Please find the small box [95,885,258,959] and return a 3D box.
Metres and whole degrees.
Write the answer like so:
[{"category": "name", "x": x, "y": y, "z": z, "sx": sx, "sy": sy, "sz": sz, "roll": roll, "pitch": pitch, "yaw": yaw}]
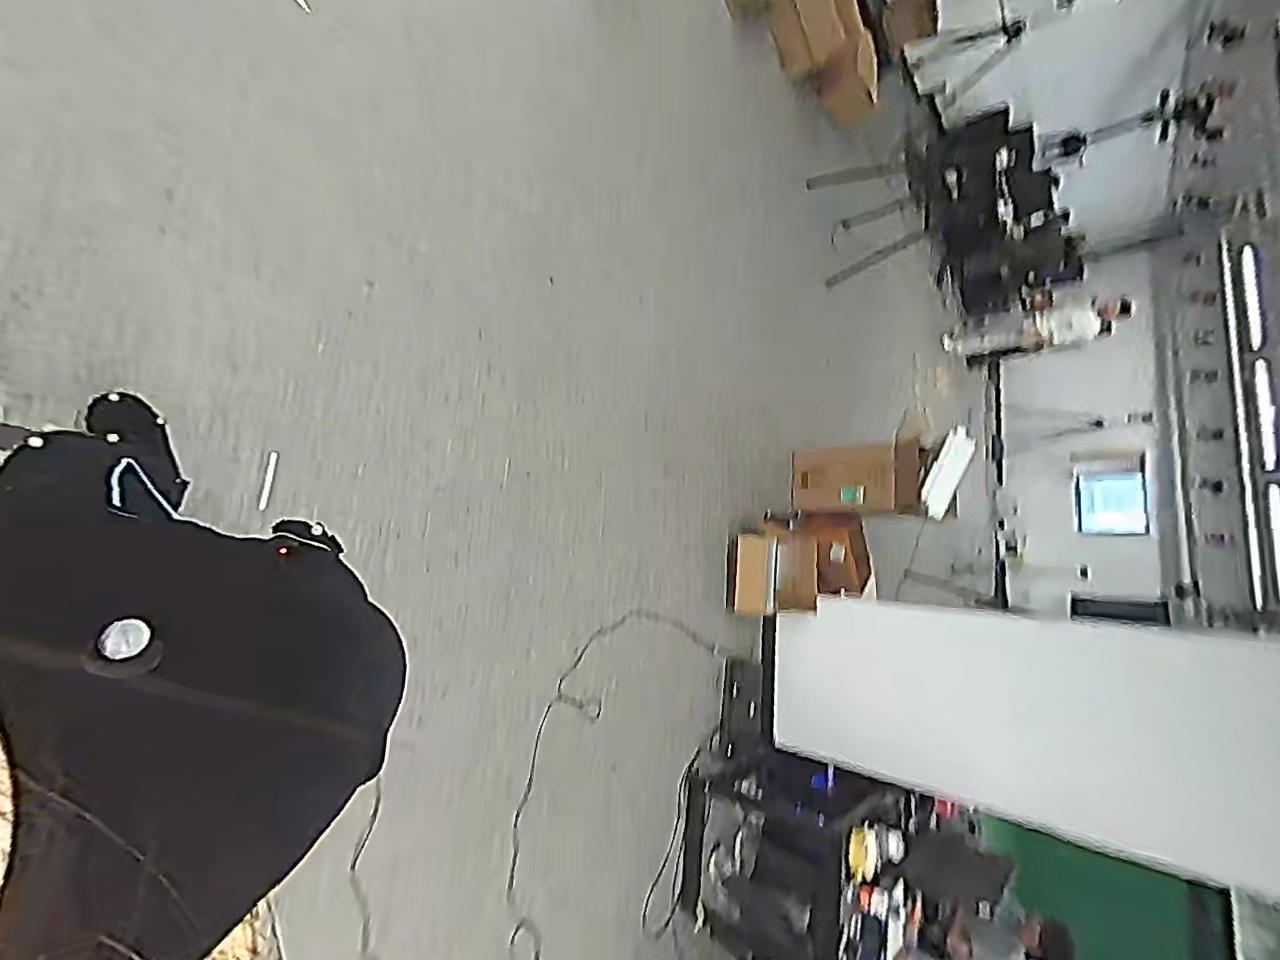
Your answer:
[{"category": "small box", "x": -0.737, "y": 0.773, "z": 0.842, "sx": 0.168, "sy": 0.176, "sz": 0.179, "roll": 21, "pitch": 72, "yaw": -47}]
